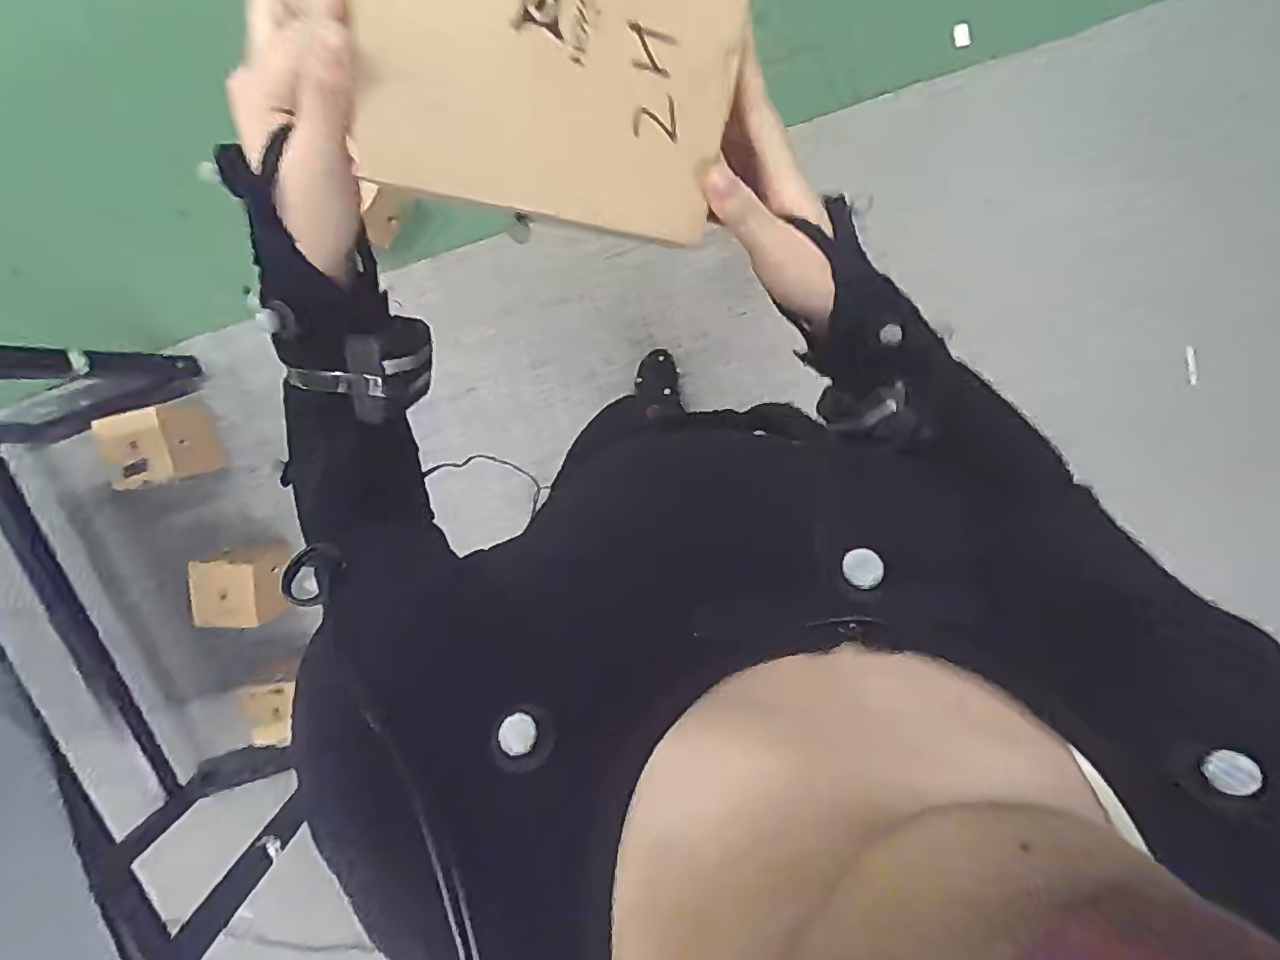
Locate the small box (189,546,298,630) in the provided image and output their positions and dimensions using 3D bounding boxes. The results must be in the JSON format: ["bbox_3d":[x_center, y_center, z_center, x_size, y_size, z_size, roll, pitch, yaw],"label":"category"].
[{"bbox_3d":[-1.053,0.282,1.449,0.168,0.176,0.179,2,101,0],"label":"small box"}]

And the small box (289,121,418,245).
[{"bbox_3d":[-0.666,-0.687,1.279,0.179,0.176,0.168,36,98,-7],"label":"small box"}]

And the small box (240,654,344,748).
[{"bbox_3d":[-0.958,0.611,1.509,0.168,0.176,0.179,-6,101,1],"label":"small box"}]

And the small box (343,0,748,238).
[{"bbox_3d":[-0.050,-0.242,0.310,0.179,0.176,0.168,4,115,-13],"label":"small box"}]

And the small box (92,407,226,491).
[{"bbox_3d":[-1.215,-0.085,1.383,0.168,0.176,0.179,-13,99,2],"label":"small box"}]
